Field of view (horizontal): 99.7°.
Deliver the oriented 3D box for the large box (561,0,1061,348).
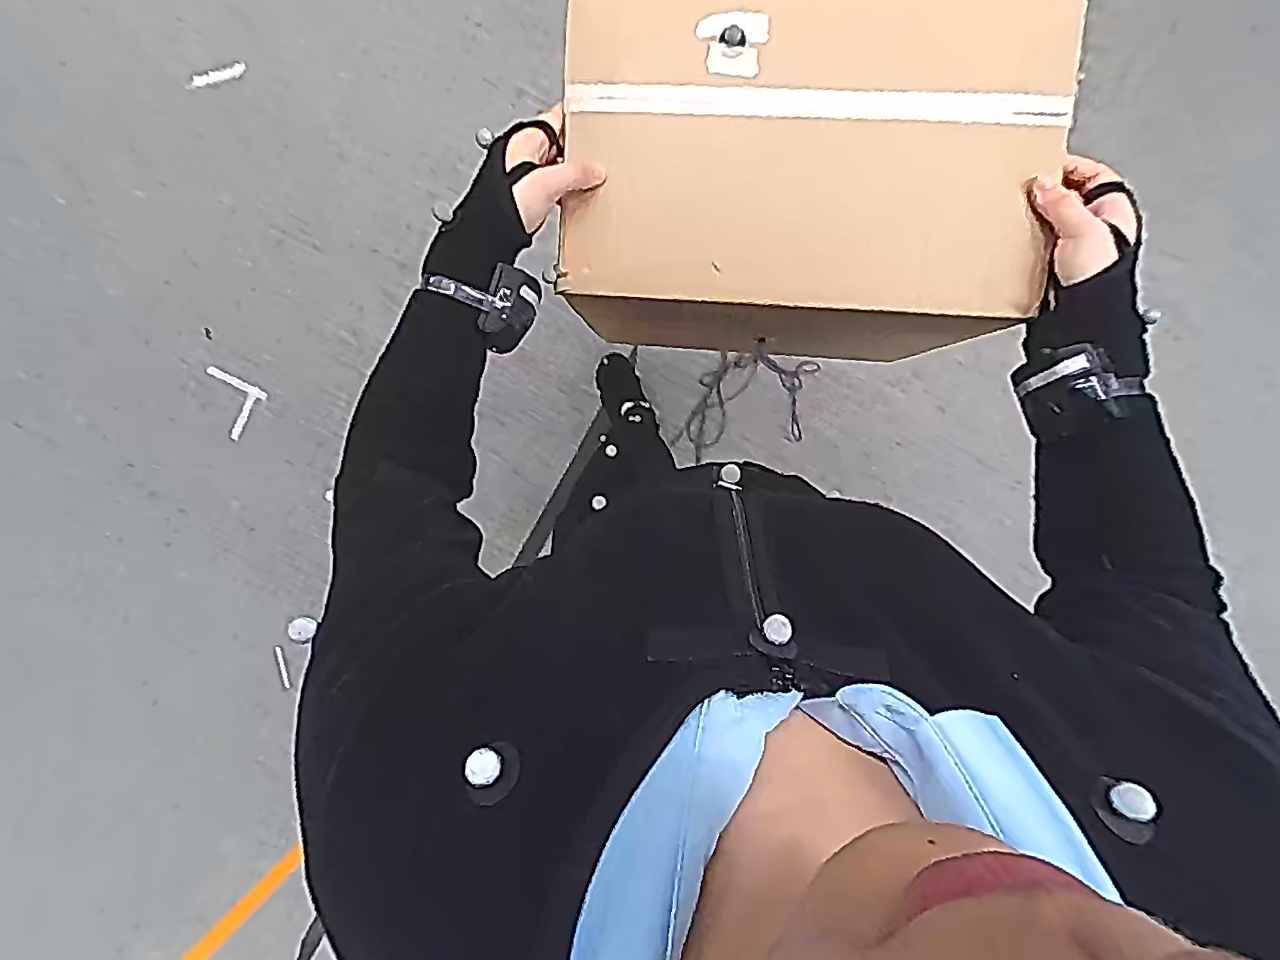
[{"bbox_3d":[0.148,-0.325,0.601,0.408,0.320,0.320,4,94,5],"label":"large box"}]
